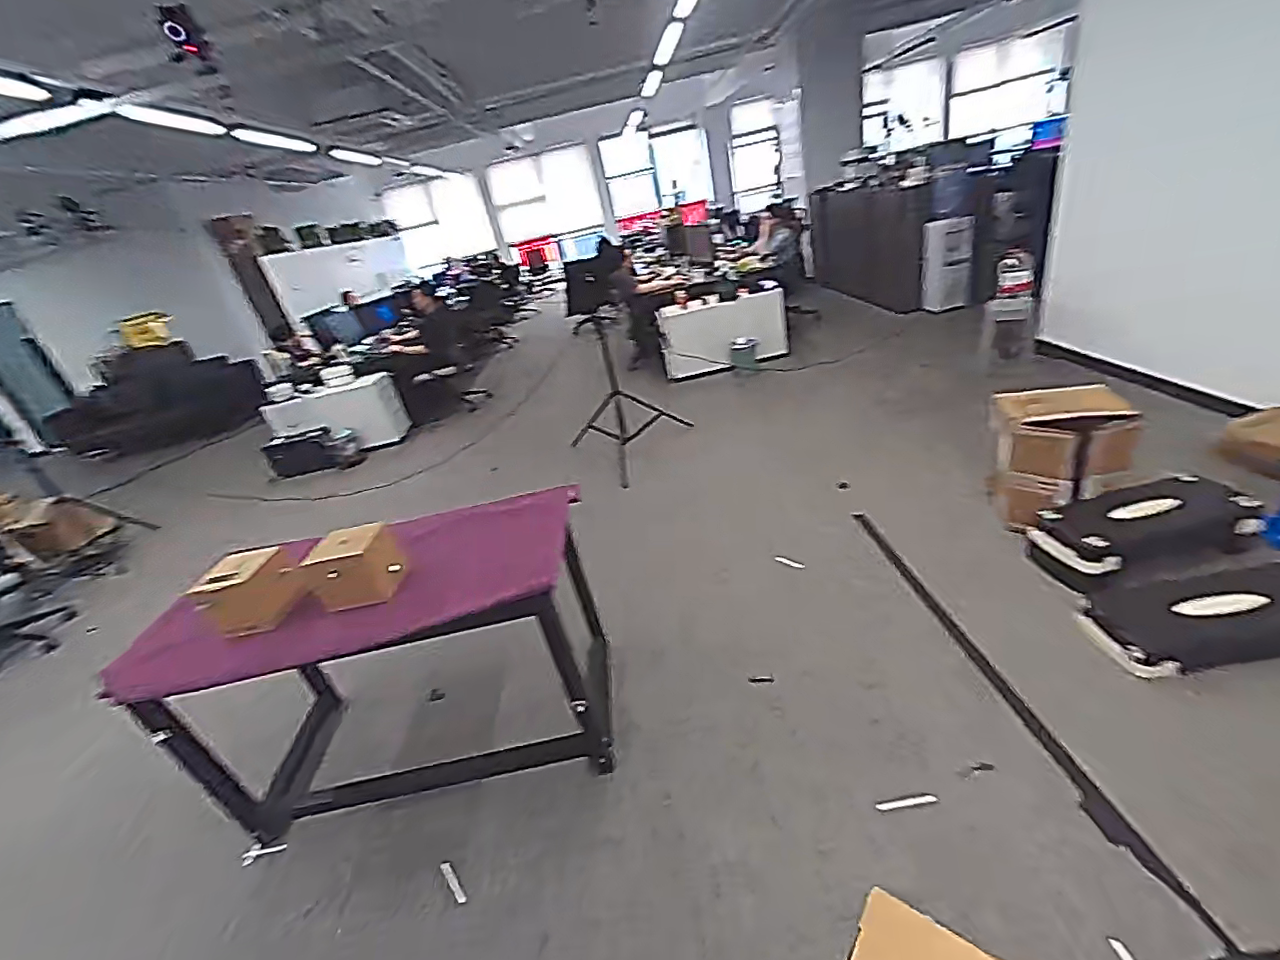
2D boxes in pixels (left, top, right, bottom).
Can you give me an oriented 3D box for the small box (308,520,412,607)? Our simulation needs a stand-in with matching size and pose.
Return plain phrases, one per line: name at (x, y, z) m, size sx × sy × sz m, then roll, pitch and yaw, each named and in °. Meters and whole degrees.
small box at (-0.786, 0.240, 1.537) m, size 0.179 × 0.176 × 0.168 m, roll -11°, pitch 28°, yaw 4°
